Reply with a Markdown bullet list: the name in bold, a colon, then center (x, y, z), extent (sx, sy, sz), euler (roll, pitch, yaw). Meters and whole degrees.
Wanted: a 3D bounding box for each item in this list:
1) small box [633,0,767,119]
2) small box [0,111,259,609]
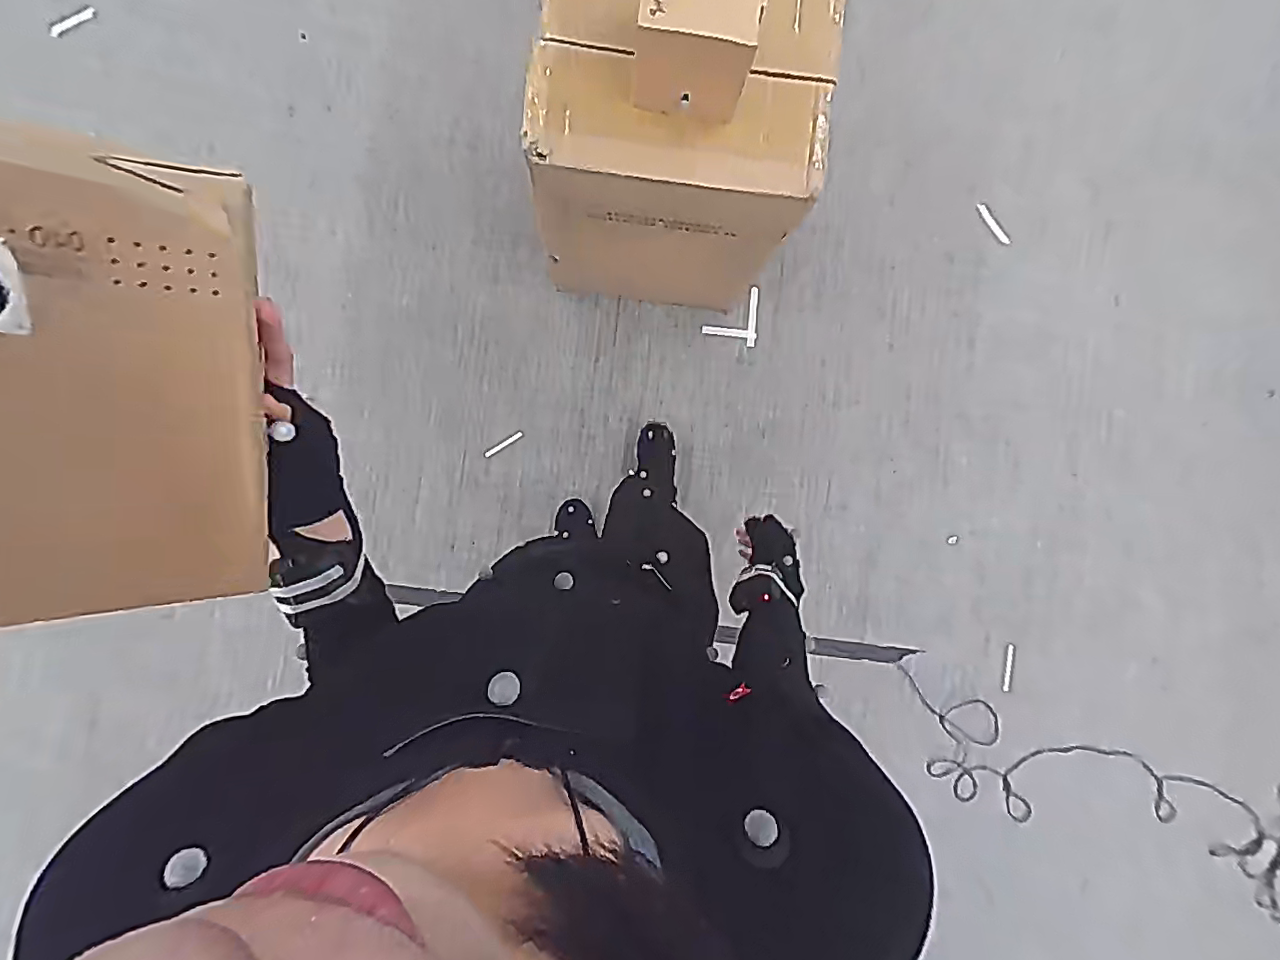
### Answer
- **small box**: center (0.089, -0.700, 0.837), extent (0.179, 0.176, 0.168), euler (7, 90, -4)
- **small box**: center (-0.268, -0.063, 0.230), extent (0.168, 0.179, 0.176), euler (-4, 119, -32)
